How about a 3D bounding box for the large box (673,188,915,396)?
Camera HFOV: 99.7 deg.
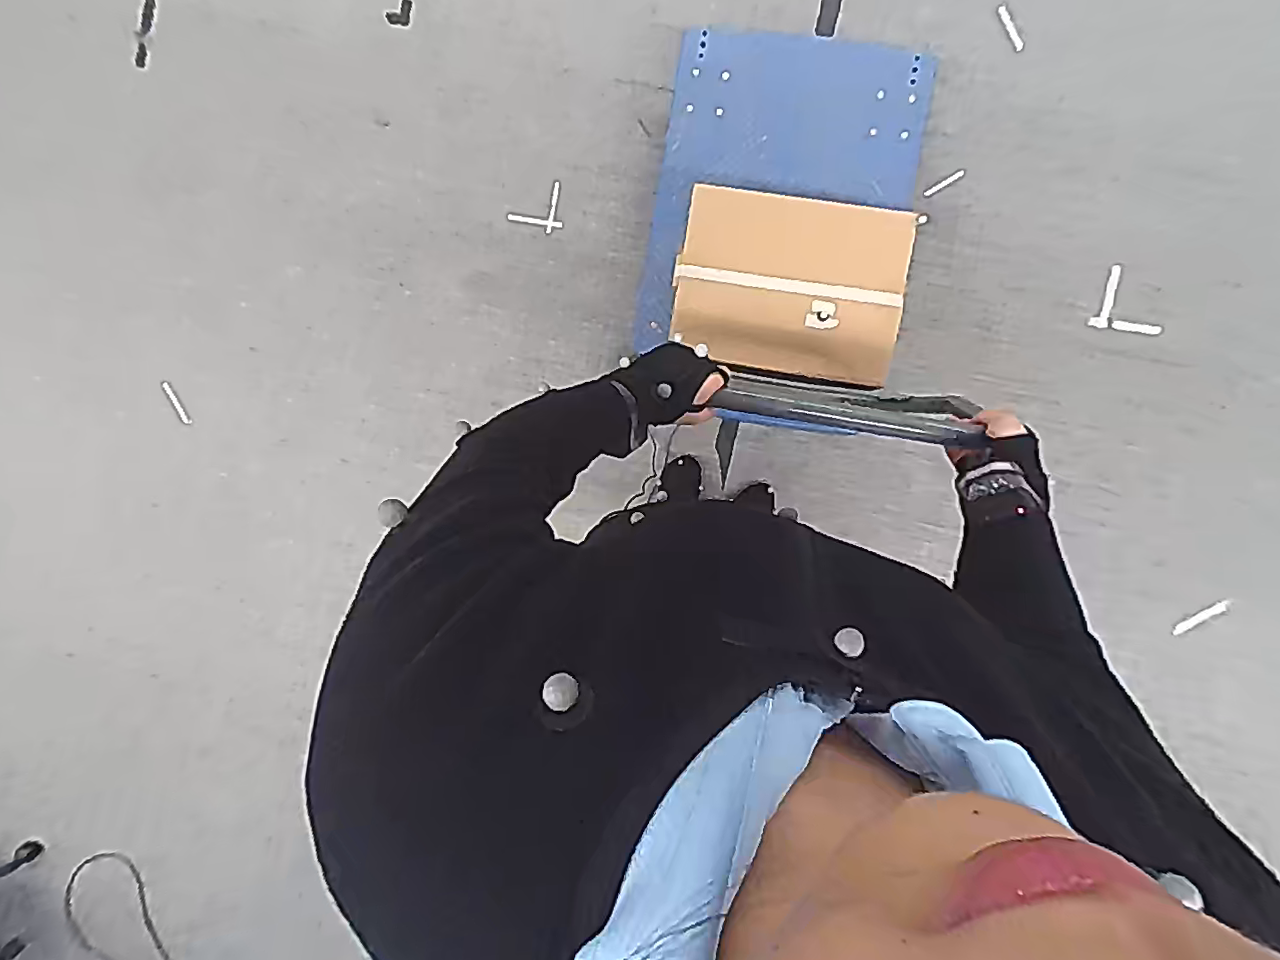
[{"bbox_3d":[0.285,-0.367,1.138,0.408,0.320,0.320,9,96,3],"label":"large box"}]
